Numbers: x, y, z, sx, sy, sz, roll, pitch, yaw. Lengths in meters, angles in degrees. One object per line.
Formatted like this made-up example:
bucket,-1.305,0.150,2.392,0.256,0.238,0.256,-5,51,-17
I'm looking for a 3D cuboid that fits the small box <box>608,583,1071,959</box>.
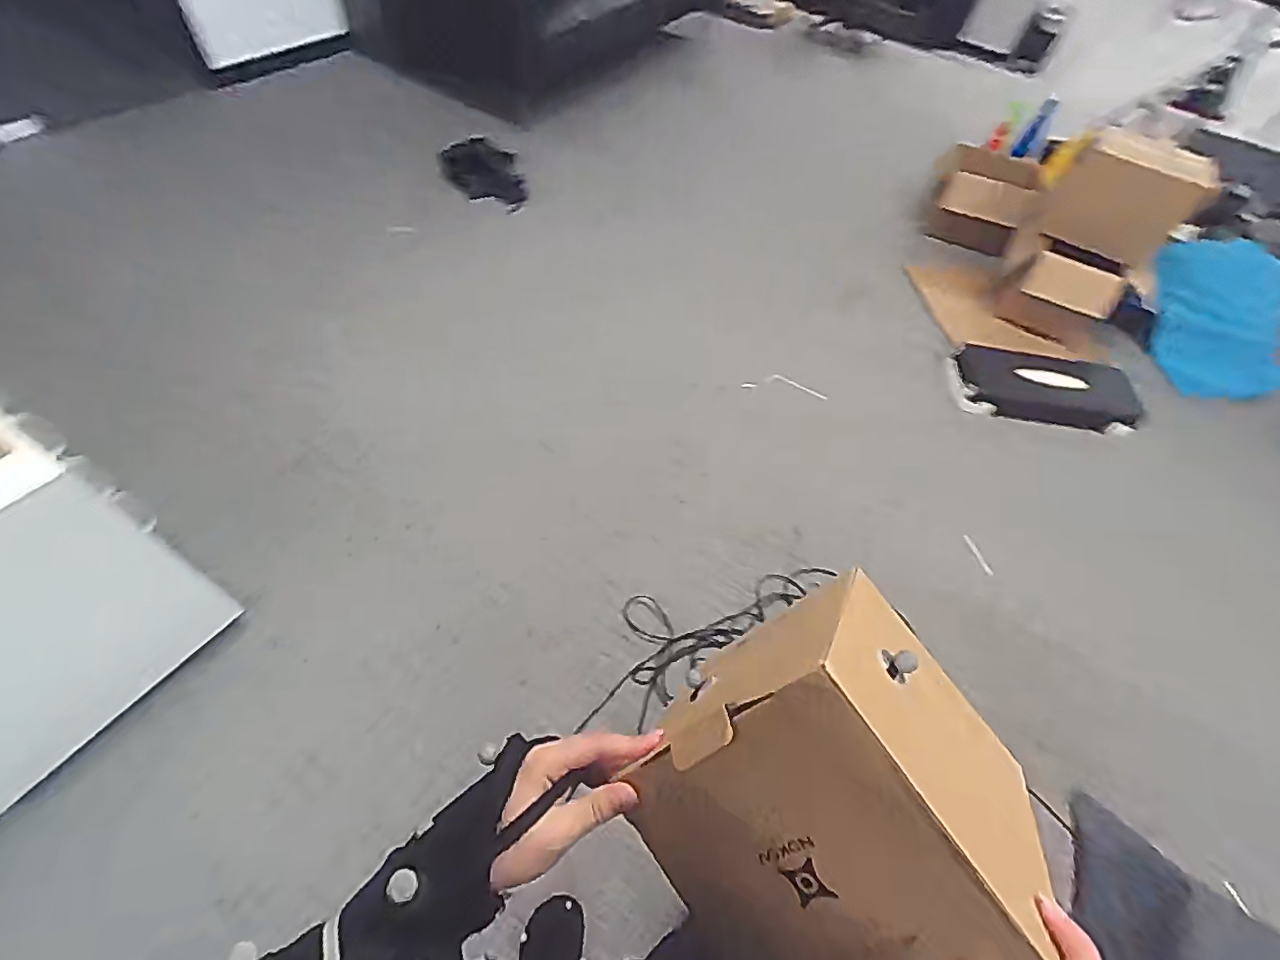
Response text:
small box,0.119,0.188,0.352,0.179,0.168,0.176,50,27,9
